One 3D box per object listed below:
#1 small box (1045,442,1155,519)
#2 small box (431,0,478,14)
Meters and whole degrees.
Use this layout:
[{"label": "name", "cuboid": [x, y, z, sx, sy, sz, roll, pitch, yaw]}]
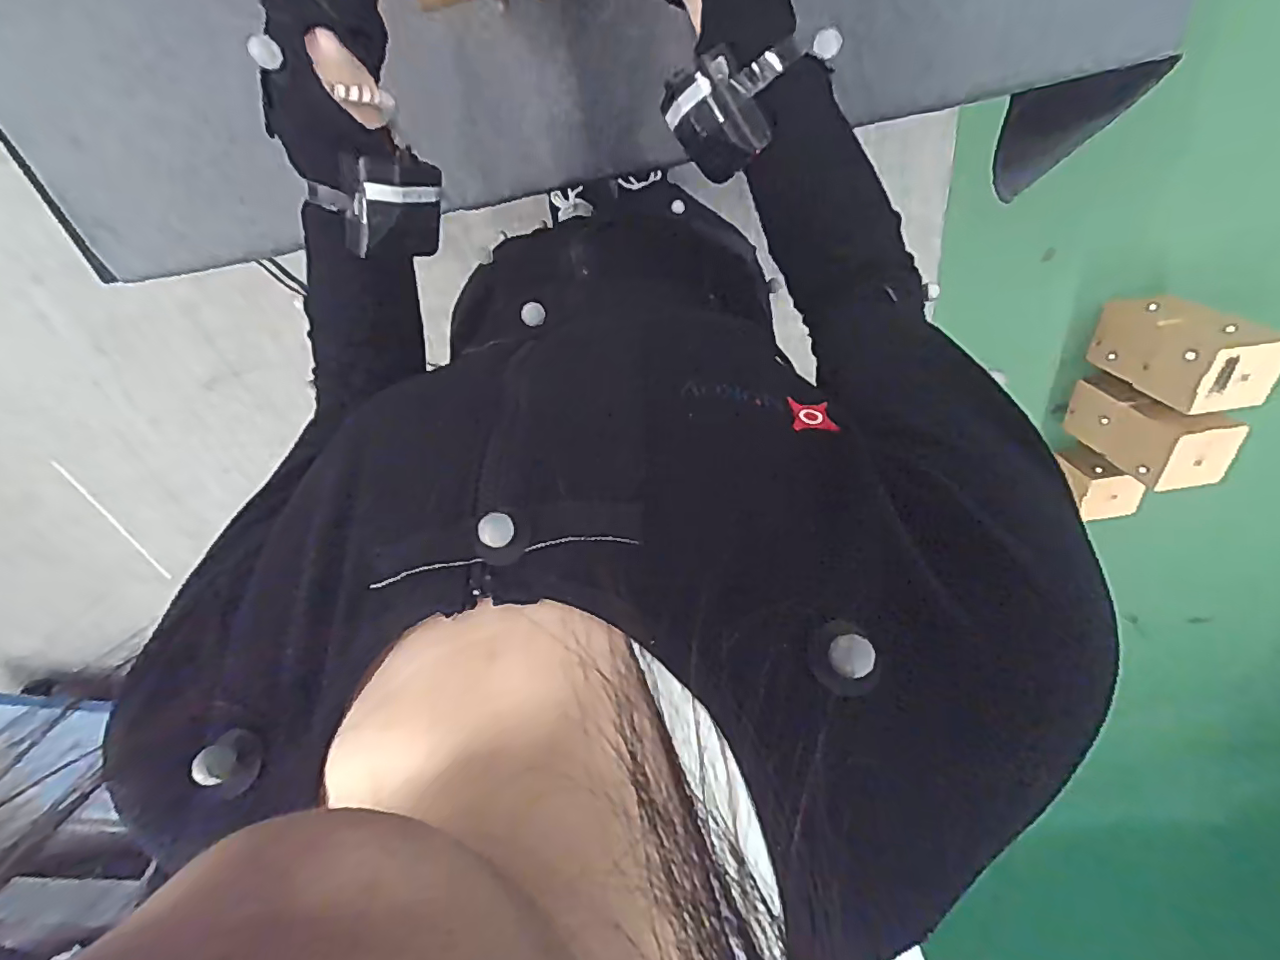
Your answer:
[{"label": "small box", "cuboid": [1.425, -0.003, 1.687, 0.179, 0.176, 0.168, -10, 125, 4]}, {"label": "small box", "cuboid": [-0.096, -0.454, 0.361, 0.168, 0.176, 0.179, -13, 132, 9]}]
